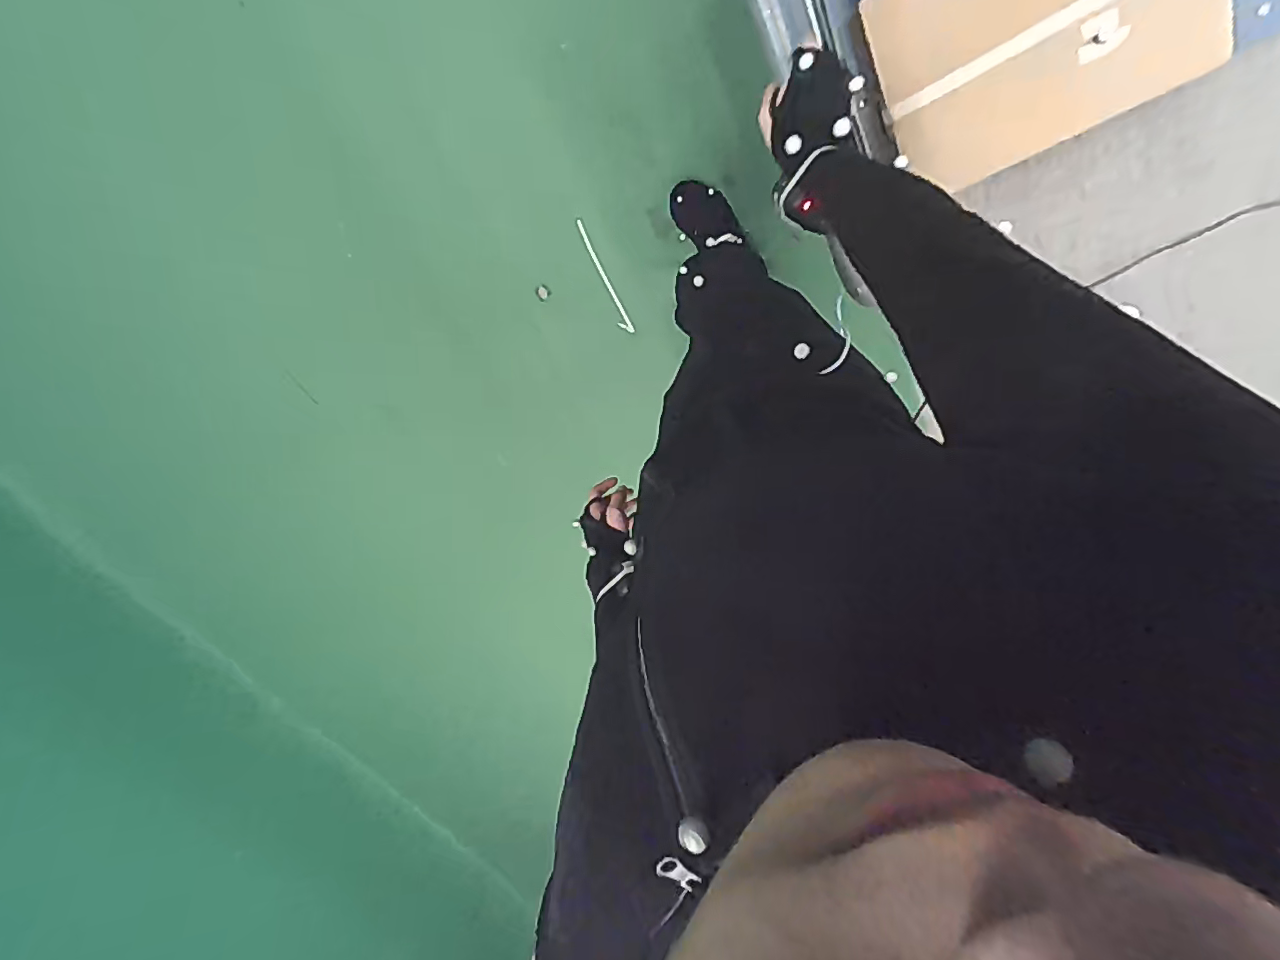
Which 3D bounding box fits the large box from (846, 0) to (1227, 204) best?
[{"bbox_3d":[0.598,-0.726,0.889,0.408,0.320,0.320,-19,118,27],"label":"large box"}]
